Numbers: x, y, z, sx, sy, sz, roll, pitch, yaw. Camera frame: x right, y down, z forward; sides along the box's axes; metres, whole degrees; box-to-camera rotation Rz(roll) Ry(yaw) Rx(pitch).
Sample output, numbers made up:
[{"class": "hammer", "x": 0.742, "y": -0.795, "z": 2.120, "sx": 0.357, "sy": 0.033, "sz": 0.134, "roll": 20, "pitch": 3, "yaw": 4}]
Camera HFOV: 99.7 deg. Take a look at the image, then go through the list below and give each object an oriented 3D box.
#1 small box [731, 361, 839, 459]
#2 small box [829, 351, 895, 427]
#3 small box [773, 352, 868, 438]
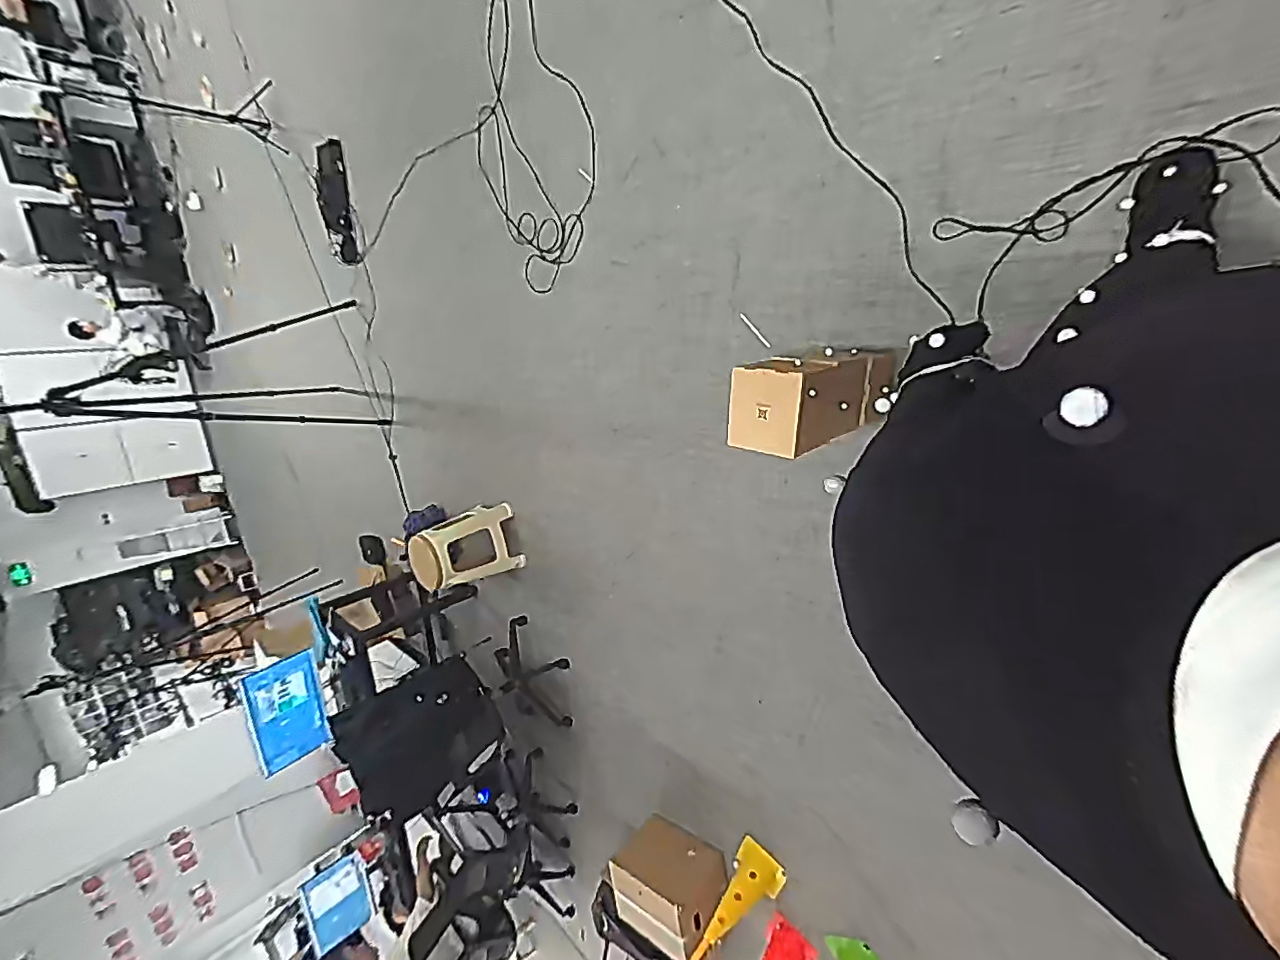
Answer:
[{"class": "small box", "x": 0.317, "y": -0.160, "z": 1.183, "sx": 0.168, "sy": 0.176, "sz": 0.179, "roll": 16, "pitch": 114, "yaw": 40}, {"class": "small box", "x": 0.543, "y": -0.244, "z": 1.405, "sx": 0.179, "sy": 0.176, "sz": 0.168, "roll": 15, "pitch": 114, "yaw": 40}, {"class": "small box", "x": 0.427, "y": -0.207, "z": 1.294, "sx": 0.168, "sy": 0.176, "sz": 0.179, "roll": 17, "pitch": 114, "yaw": 40}]
